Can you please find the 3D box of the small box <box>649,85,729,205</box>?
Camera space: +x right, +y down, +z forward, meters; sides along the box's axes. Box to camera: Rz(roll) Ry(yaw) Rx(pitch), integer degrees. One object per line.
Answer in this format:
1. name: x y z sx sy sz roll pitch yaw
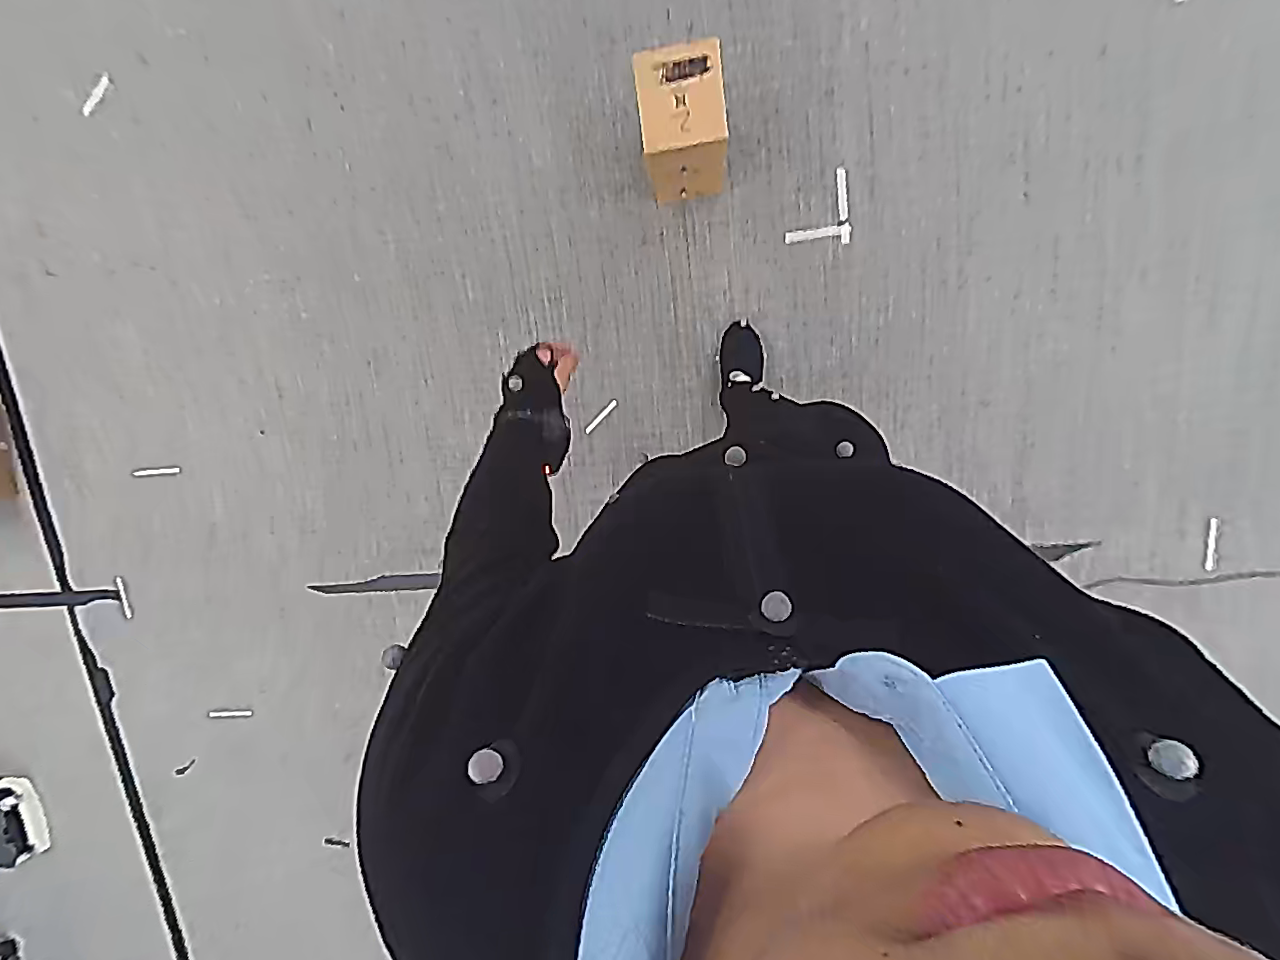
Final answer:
1. small box: 0.112 -0.773 1.263 0.168 0.176 0.179 -6 100 6
